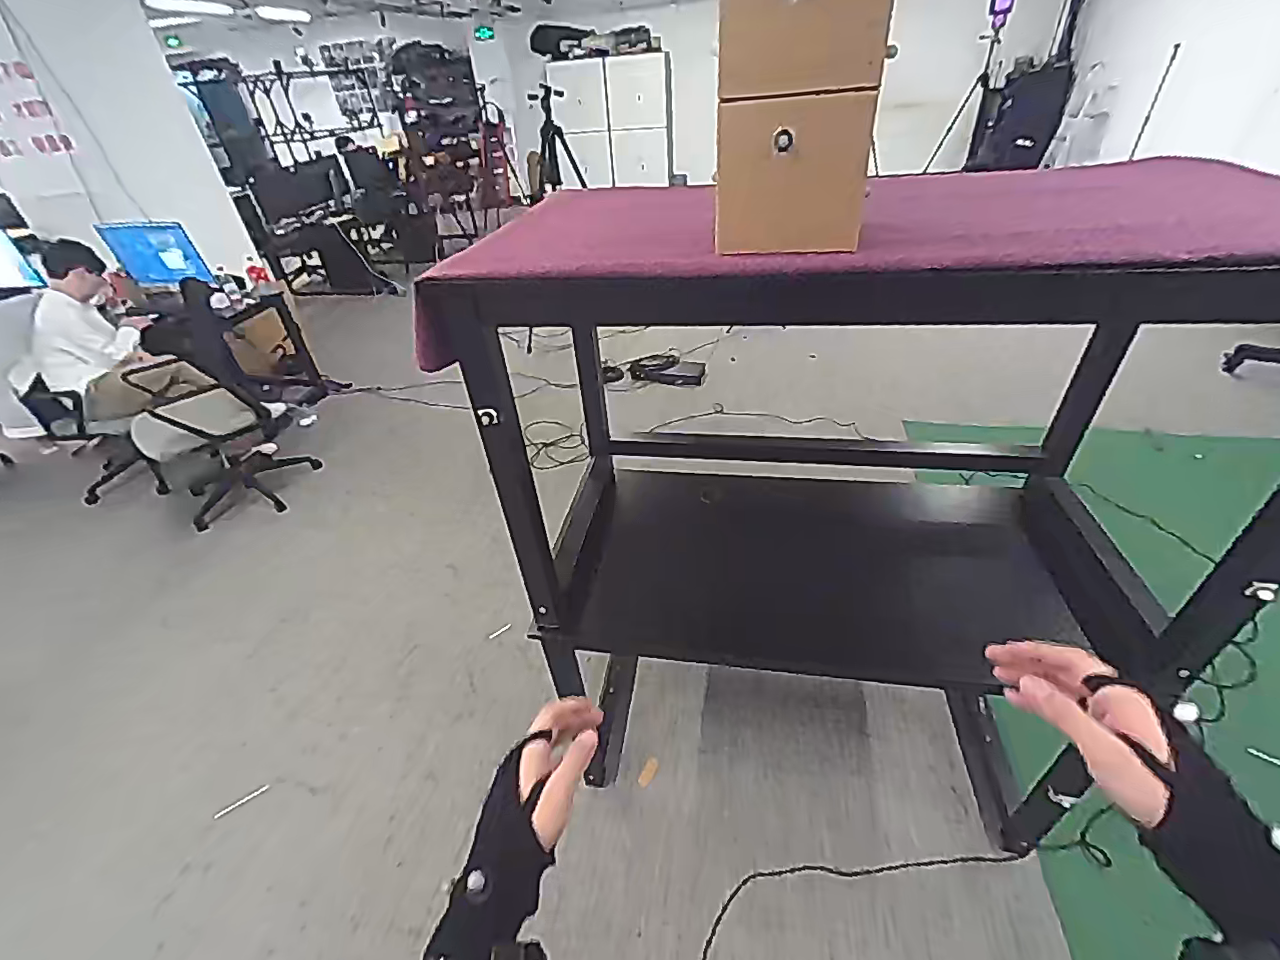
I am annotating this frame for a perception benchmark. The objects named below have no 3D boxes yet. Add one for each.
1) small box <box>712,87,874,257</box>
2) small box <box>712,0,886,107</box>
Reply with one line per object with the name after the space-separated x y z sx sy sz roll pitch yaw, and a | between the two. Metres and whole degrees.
0.191 -0.396 0.700 0.179 0.176 0.168 4 38 13 | small box
0.177 -0.528 0.603 0.179 0.176 0.168 3 37 14 | small box
